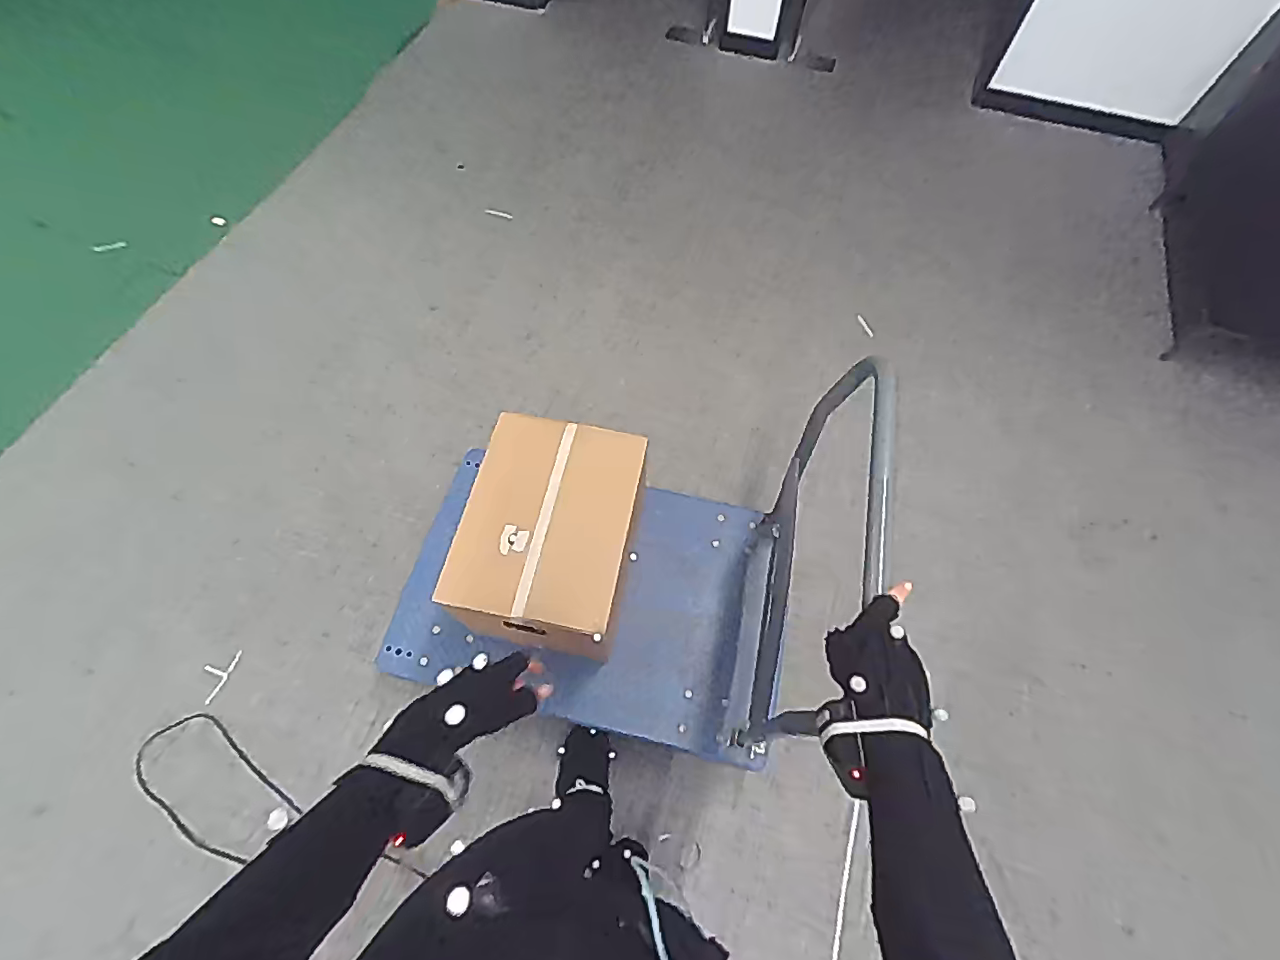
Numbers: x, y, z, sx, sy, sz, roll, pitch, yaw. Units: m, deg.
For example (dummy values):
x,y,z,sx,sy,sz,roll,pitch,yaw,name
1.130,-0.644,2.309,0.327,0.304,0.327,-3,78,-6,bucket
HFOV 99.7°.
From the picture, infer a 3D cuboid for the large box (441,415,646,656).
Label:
x,y,z,sx,sy,sz,roll,pitch,yaw,name
-0.174,0.128,1.162,0.320,0.320,0.408,10,65,5,large box
